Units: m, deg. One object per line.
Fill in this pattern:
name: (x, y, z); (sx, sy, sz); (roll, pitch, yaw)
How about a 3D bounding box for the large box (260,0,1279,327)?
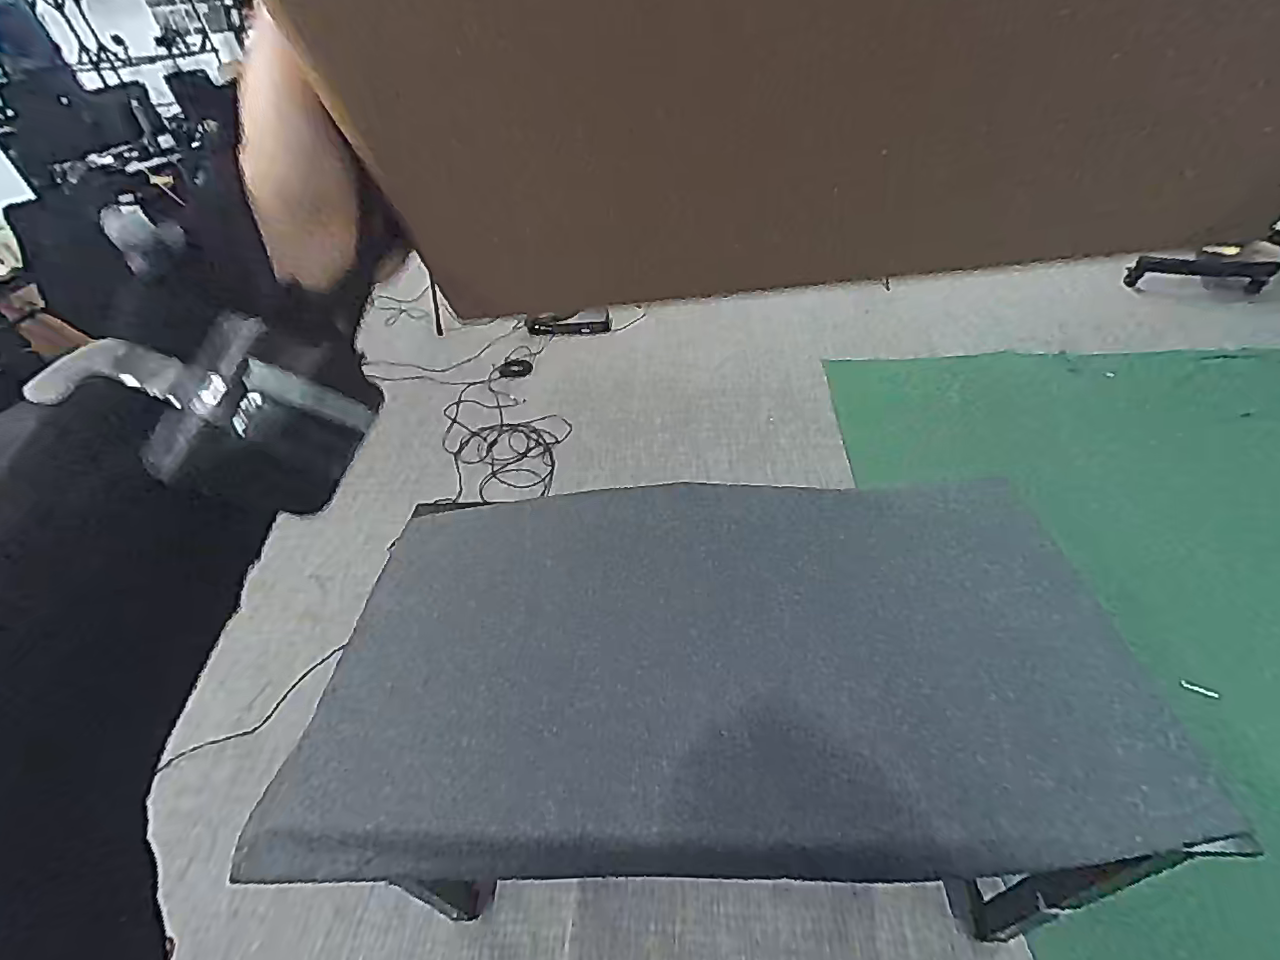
large box: (0.070, -0.296, 0.213); (0.408, 0.320, 0.320); (-5, 67, 4)
